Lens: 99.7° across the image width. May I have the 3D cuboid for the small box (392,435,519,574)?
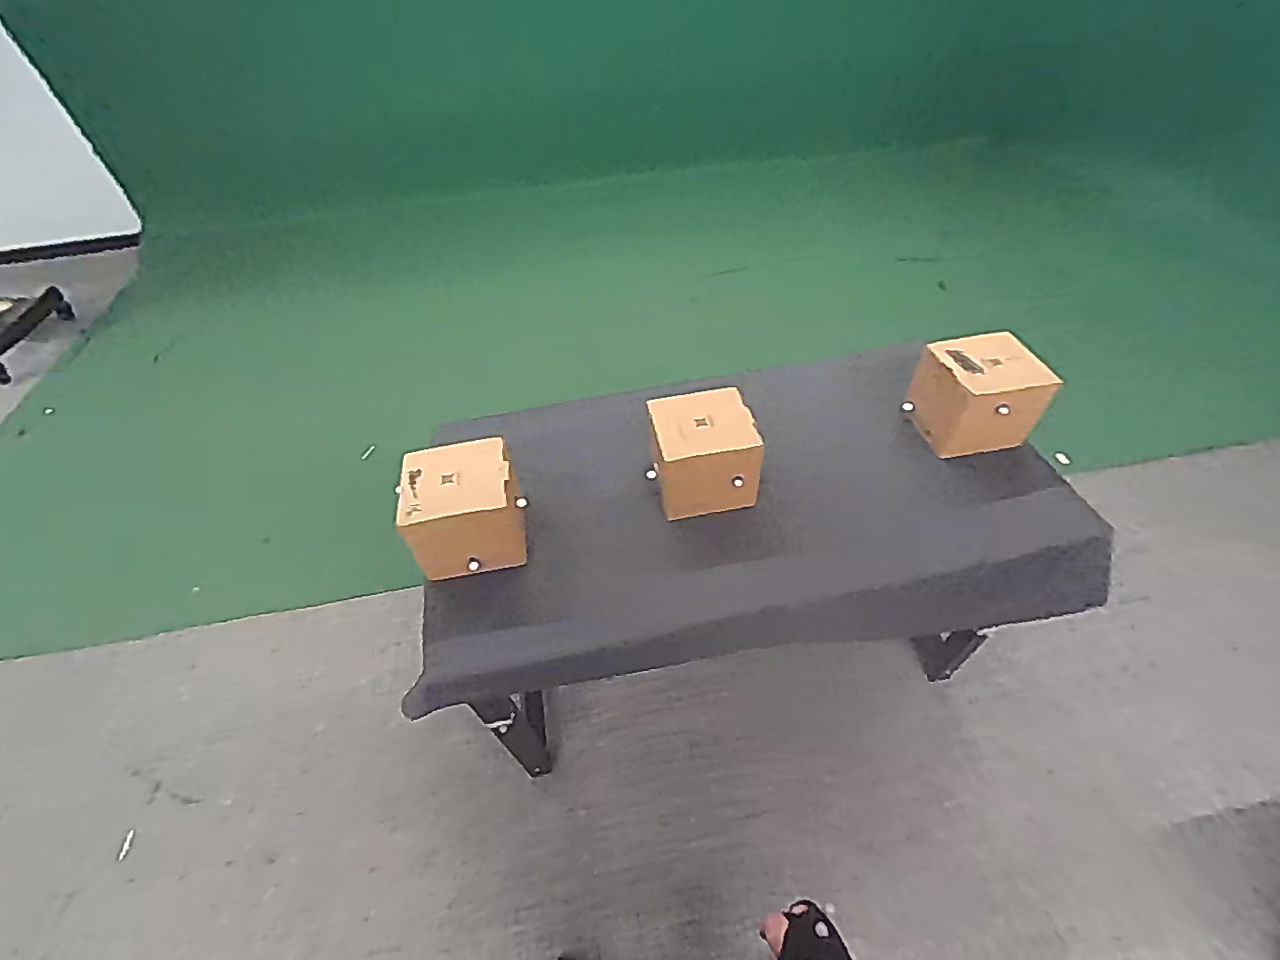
[{"bbox_3d":[-0.310,0.045,0.949,0.179,0.176,0.168,-8,48,-7],"label":"small box"}]

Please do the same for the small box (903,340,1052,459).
[{"bbox_3d":[0.663,-0.159,1.095,0.179,0.176,0.168,-8,49,-6],"label":"small box"}]

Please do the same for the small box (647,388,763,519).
[{"bbox_3d":[0.114,-0.048,1.021,0.179,0.176,0.168,-10,48,-5],"label":"small box"}]
